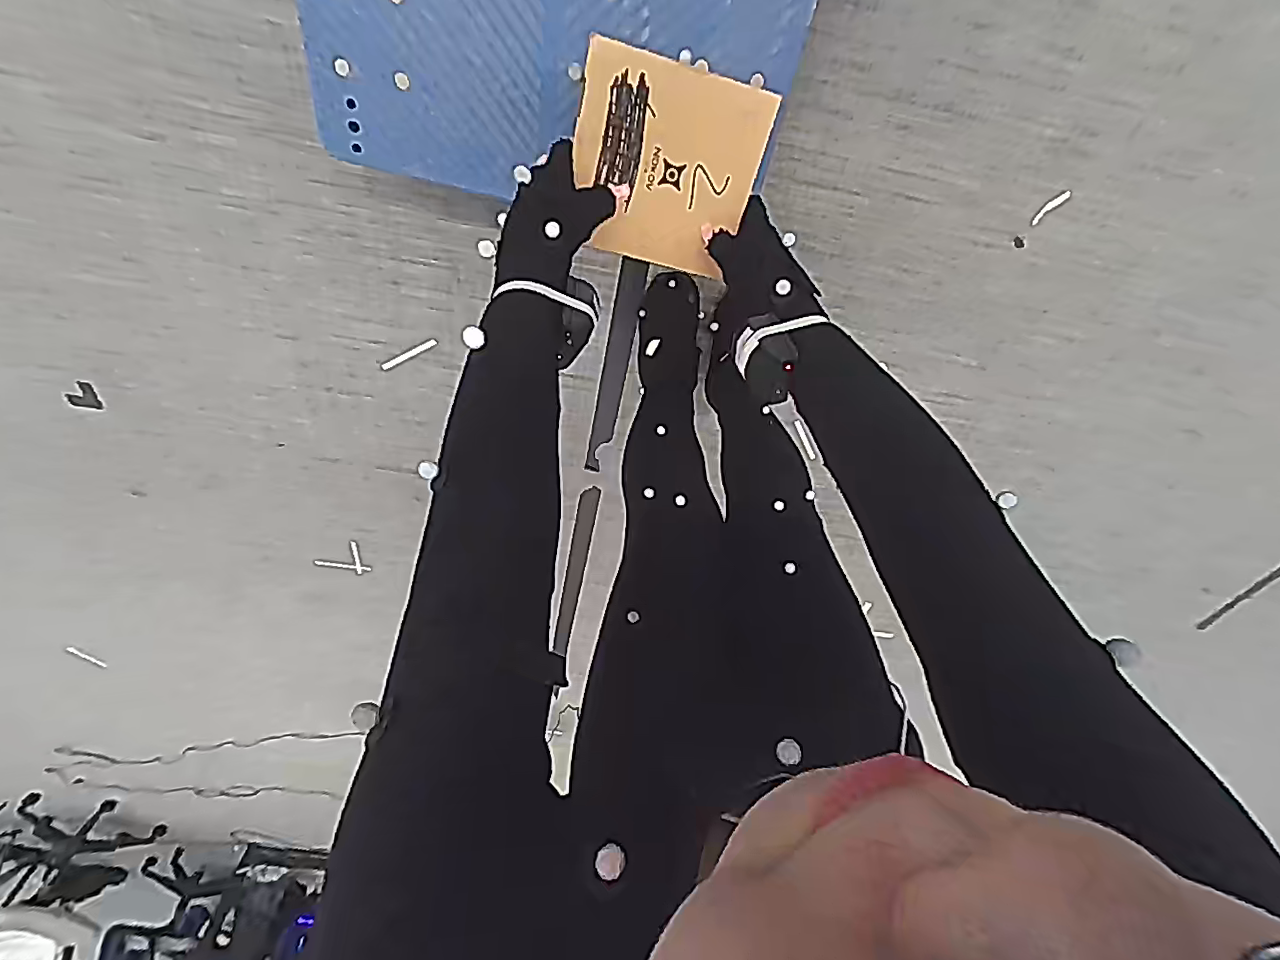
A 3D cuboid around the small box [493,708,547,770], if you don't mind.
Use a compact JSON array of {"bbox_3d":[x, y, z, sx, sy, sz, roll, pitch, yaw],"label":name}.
[{"bbox_3d":[-0.444,0.971,2.017,0.168,0.176,0.179,6,131,-2],"label":"small box"}]
